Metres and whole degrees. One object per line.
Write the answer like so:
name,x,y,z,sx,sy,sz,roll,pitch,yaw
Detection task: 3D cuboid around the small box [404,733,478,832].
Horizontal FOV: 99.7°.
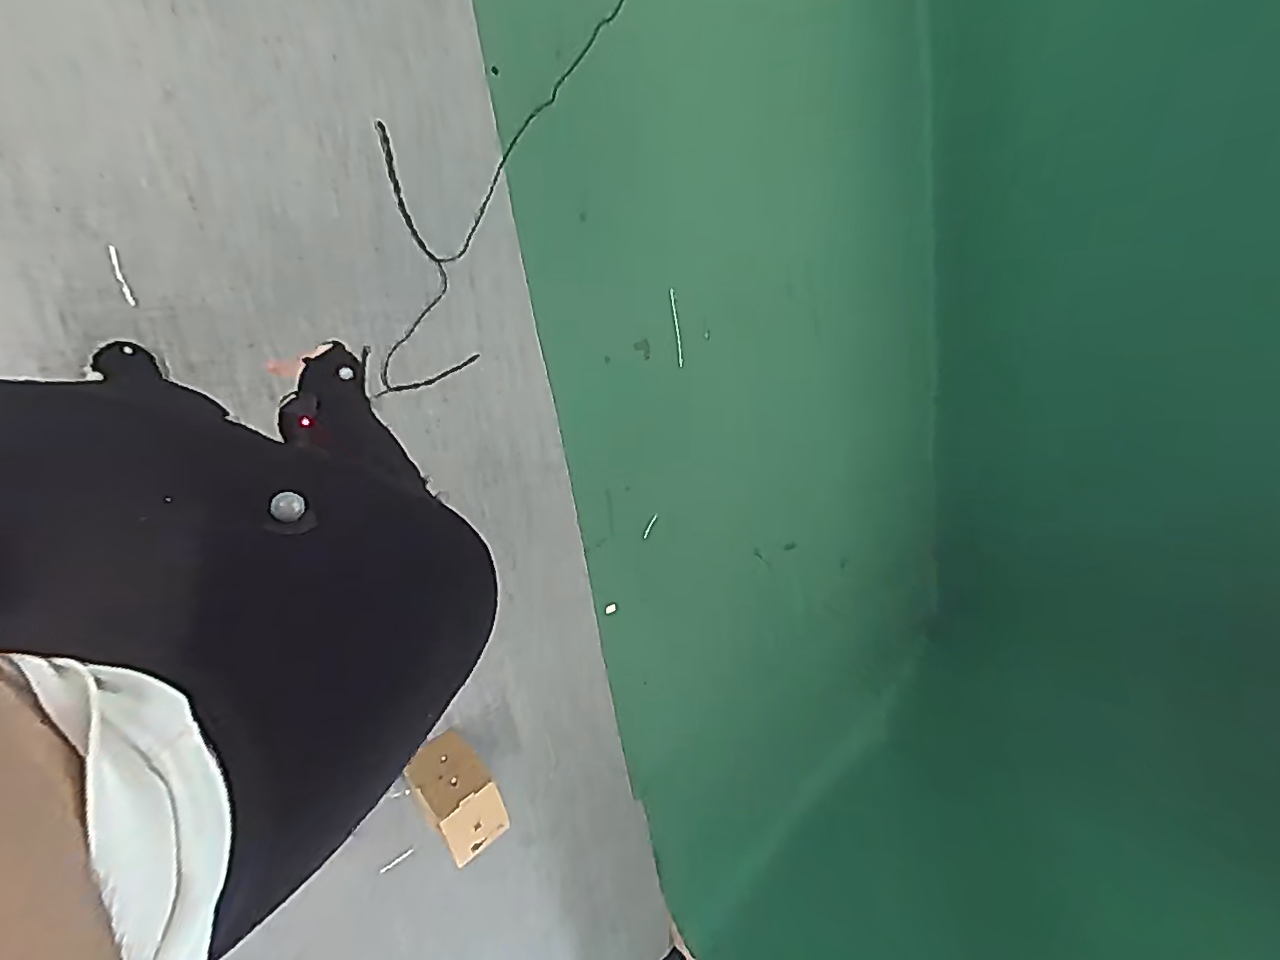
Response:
small box,-0.601,0.924,1.675,0.179,0.176,0.168,-22,109,-35

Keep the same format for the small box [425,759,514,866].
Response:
small box,-0.493,0.940,1.553,0.168,0.176,0.179,-26,111,-35
